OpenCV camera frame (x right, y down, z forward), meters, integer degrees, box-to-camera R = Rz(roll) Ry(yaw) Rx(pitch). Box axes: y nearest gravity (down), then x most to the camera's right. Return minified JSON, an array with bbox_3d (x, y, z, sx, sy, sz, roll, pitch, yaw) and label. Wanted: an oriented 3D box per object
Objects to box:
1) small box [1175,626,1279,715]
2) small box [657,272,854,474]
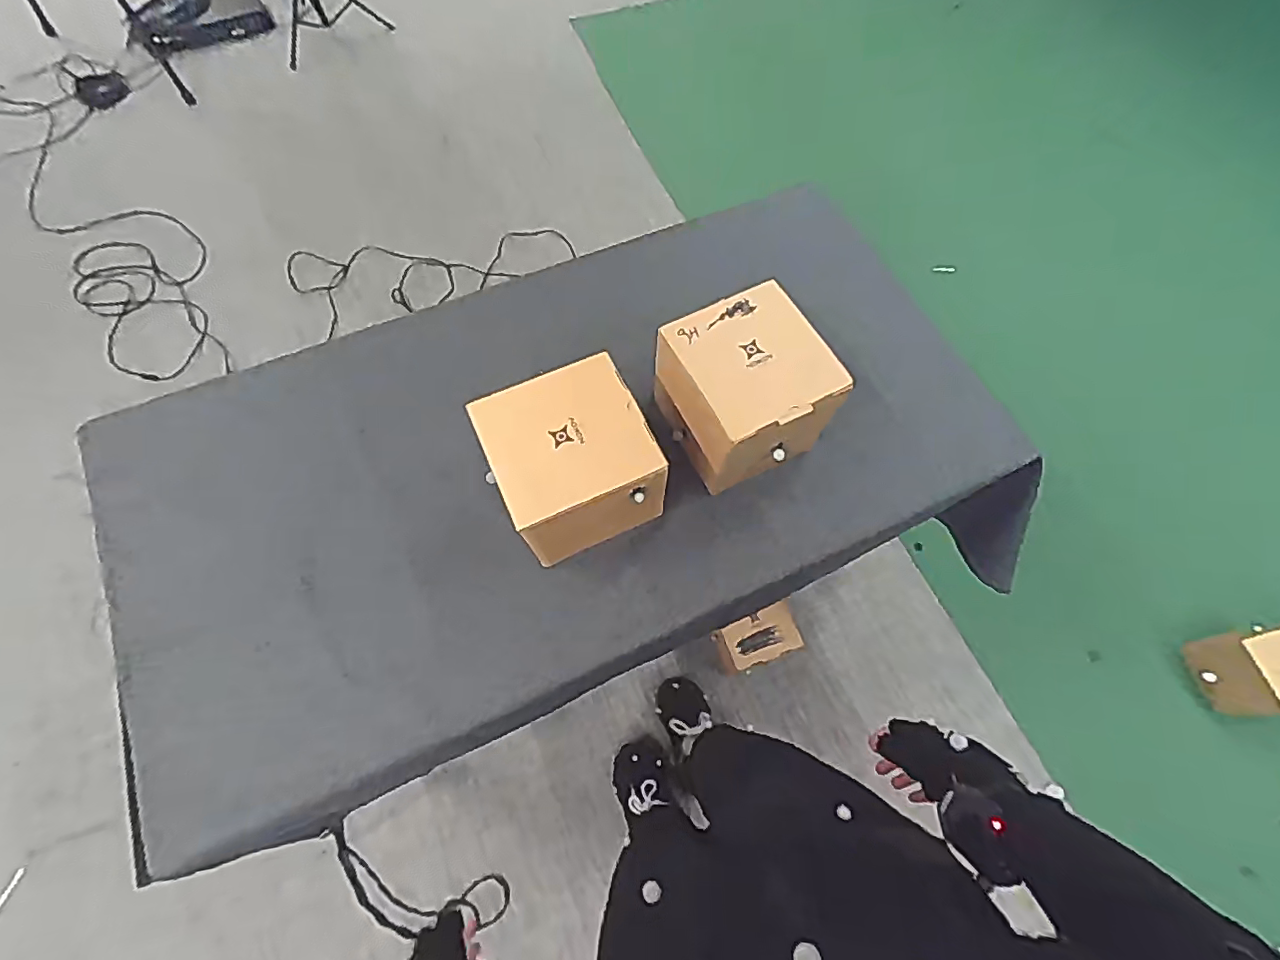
[{"bbox_3d":[1.461,0.450,1.287,0.179,0.176,0.168,-12,68,-5],"label":"small box"},{"bbox_3d":[0.134,-0.125,0.699,0.168,0.176,0.179,-24,71,-11],"label":"small box"}]
